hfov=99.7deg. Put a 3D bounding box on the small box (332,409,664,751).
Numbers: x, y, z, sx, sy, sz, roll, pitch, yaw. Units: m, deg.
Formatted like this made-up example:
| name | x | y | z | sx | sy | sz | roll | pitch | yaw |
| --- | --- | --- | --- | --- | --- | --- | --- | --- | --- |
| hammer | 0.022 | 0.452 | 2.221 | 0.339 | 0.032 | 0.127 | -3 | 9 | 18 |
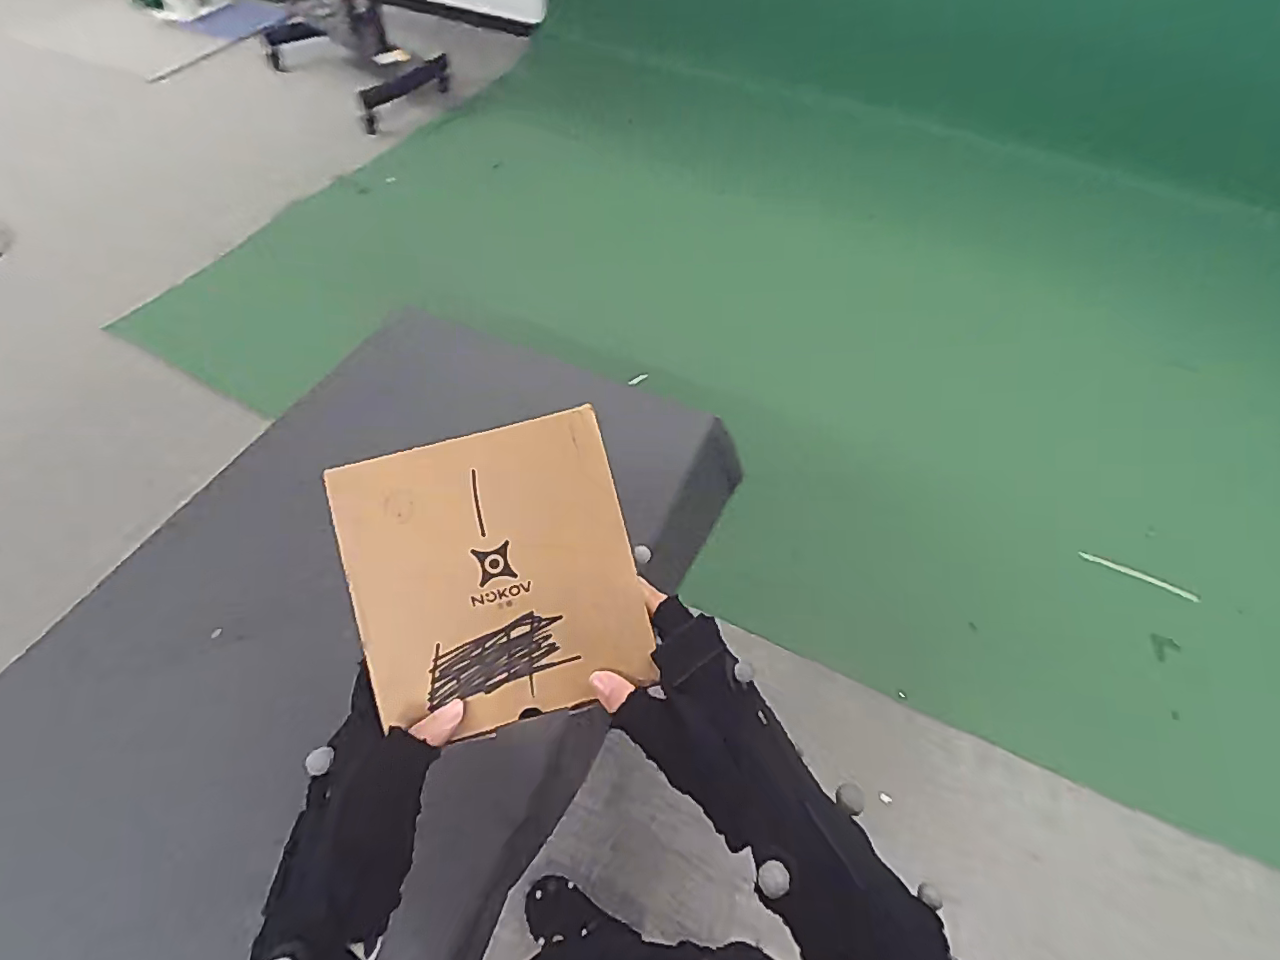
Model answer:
| name | x | y | z | sx | sy | sz | roll | pitch | yaw |
| --- | --- | --- | --- | --- | --- | --- | --- | --- | --- |
| small box | -0.088 | 0.061 | 0.409 | 0.168 | 0.176 | 0.179 | -17 | 89 | -4 |
